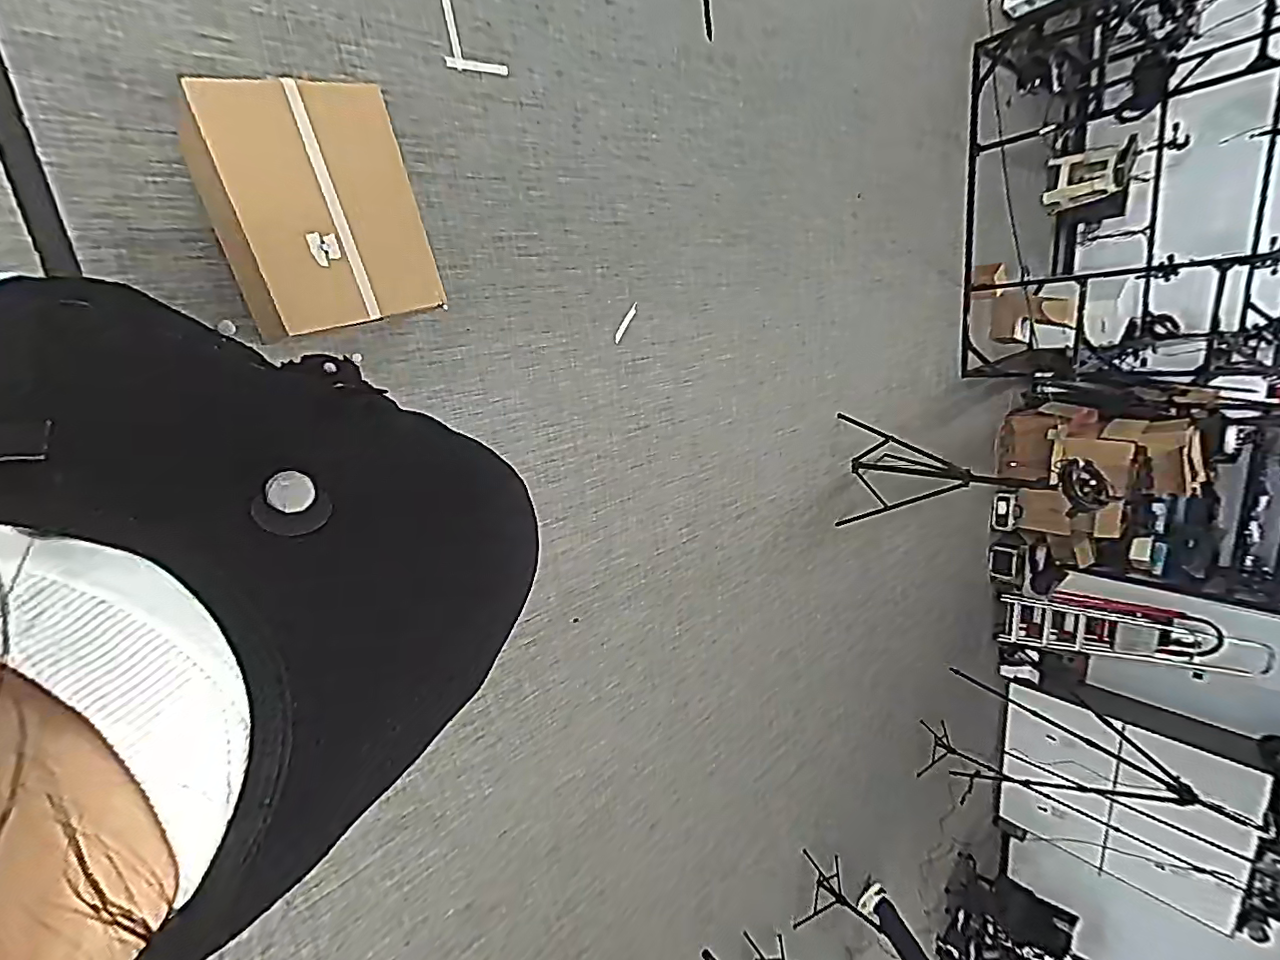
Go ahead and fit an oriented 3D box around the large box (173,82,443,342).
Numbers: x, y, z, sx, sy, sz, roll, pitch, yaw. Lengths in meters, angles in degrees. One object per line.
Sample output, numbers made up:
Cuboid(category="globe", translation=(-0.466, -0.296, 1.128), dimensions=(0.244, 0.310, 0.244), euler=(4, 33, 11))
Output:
Cuboid(category="large box", translation=(-0.670, -0.523, 1.109), dimensions=(0.320, 0.320, 0.408), euler=(-28, 116, -35))
